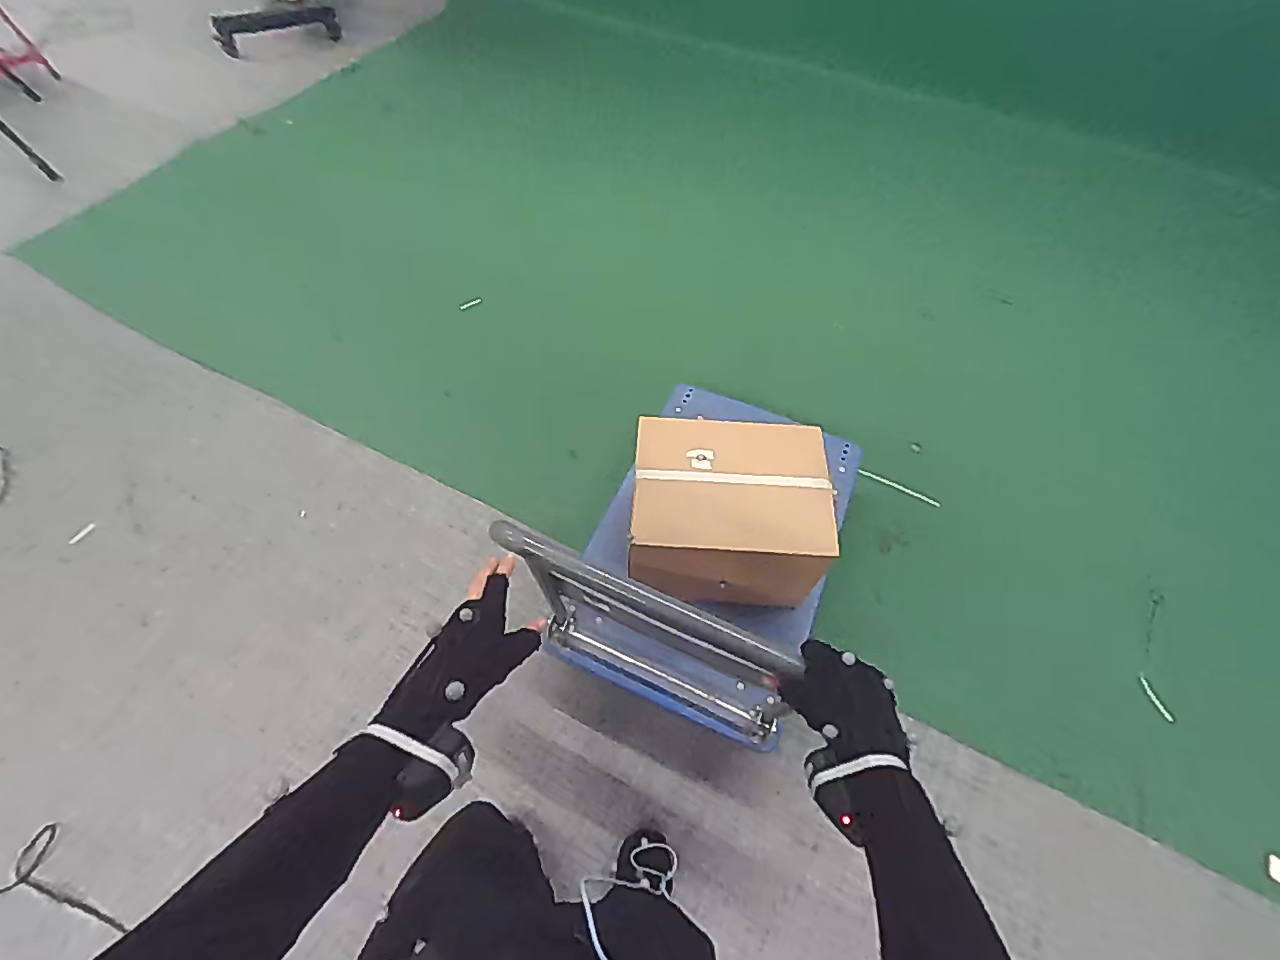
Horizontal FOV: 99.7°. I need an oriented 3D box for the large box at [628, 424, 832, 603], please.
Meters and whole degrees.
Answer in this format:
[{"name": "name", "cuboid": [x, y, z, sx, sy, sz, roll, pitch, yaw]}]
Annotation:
[{"name": "large box", "cuboid": [0.185, 0.087, 1.256, 0.408, 0.320, 0.320, 3, 58, 2]}]
